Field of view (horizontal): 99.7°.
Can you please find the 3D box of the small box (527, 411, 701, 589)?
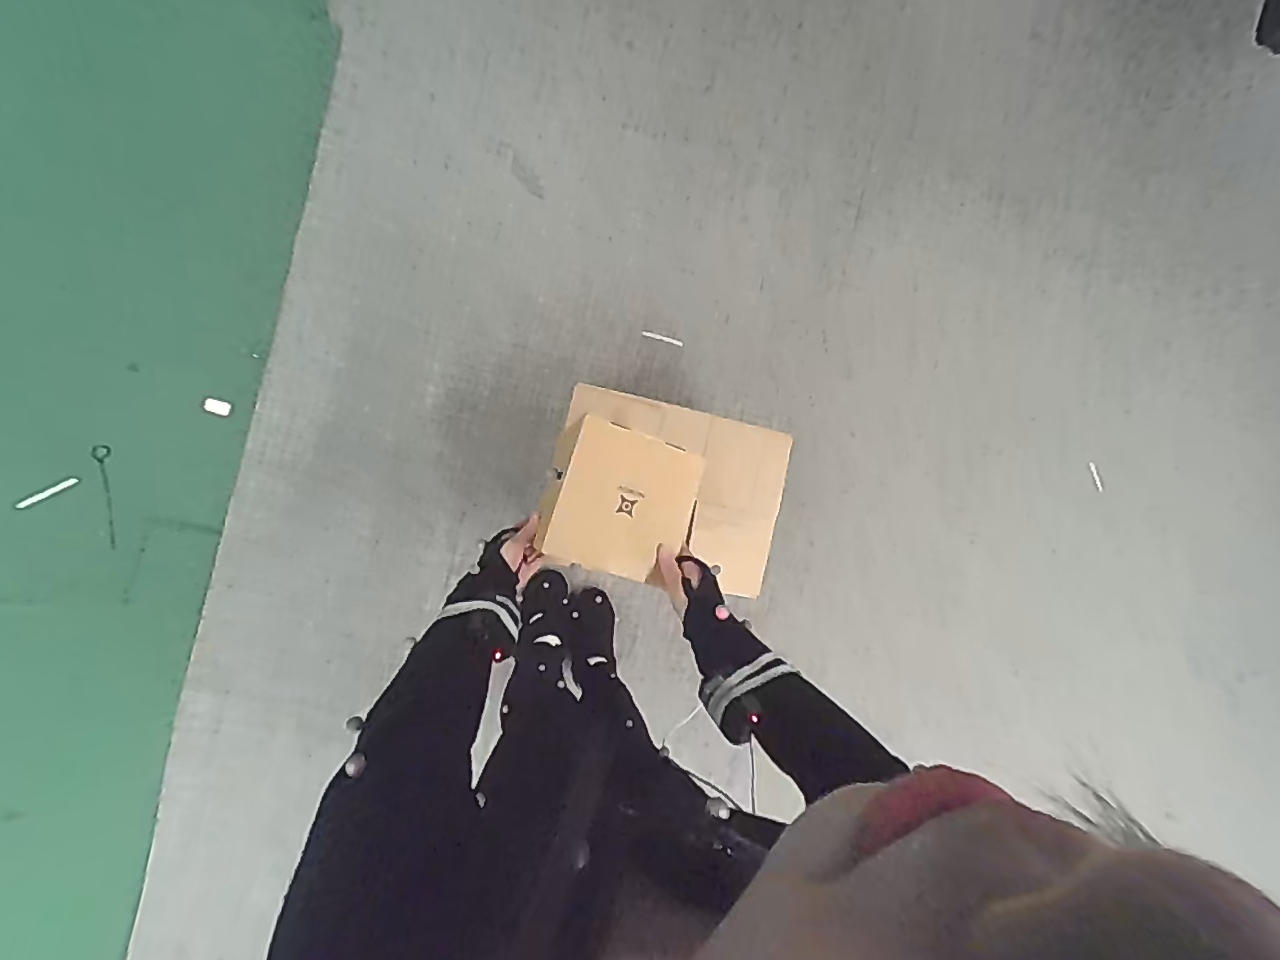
[{"bbox_3d":[-0.045,0.029,0.719,0.168,0.176,0.179,19,82,-16],"label":"small box"}]
